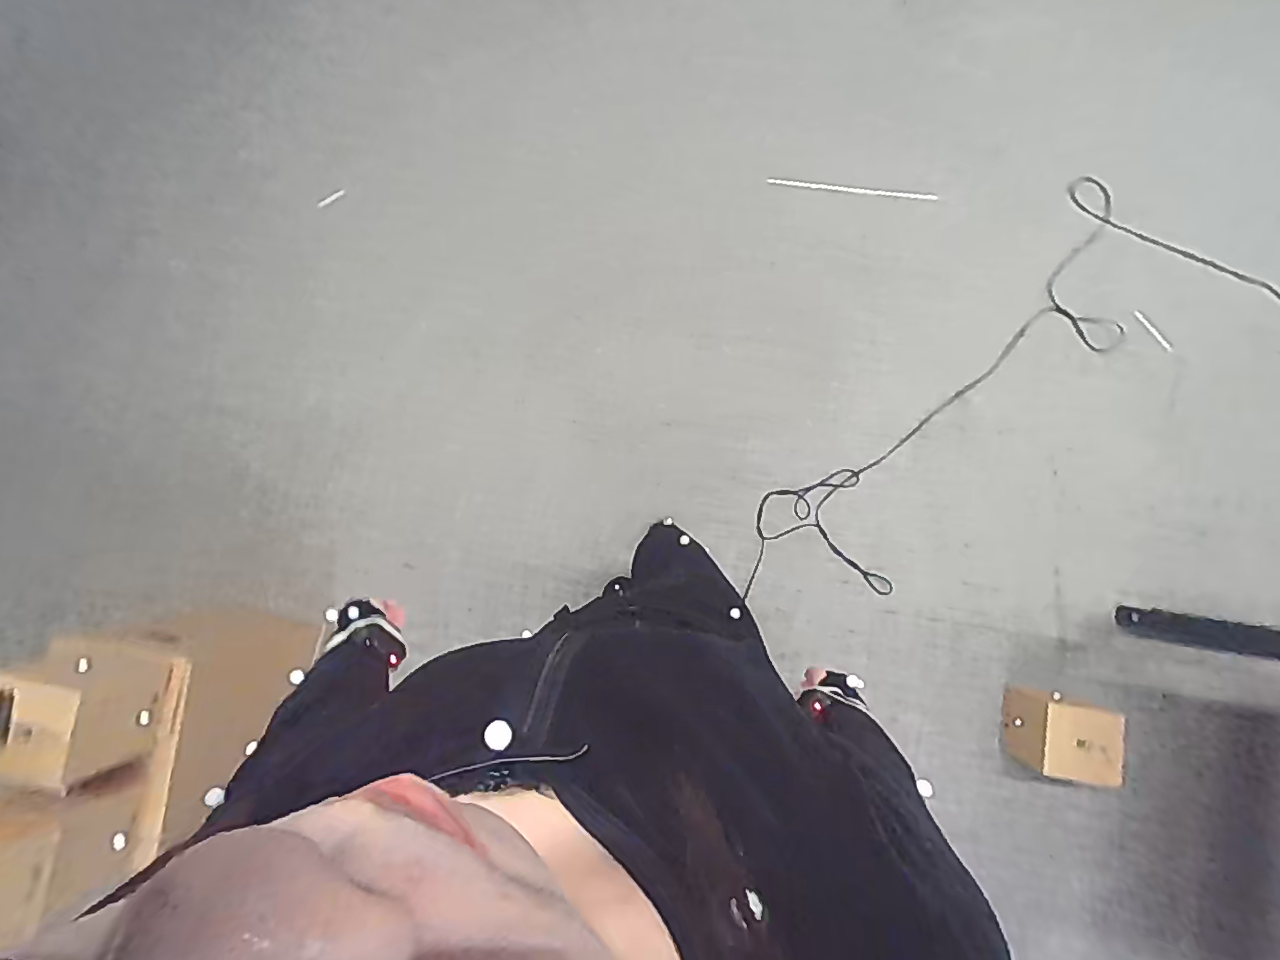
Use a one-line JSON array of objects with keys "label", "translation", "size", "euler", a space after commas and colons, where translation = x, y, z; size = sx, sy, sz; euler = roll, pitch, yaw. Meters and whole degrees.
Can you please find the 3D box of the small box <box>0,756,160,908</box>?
[{"label": "small box", "translation": [-1.061, 0.637, 1.001], "size": [0.179, 0.176, 0.168], "euler": [9, 85, 2]}]
